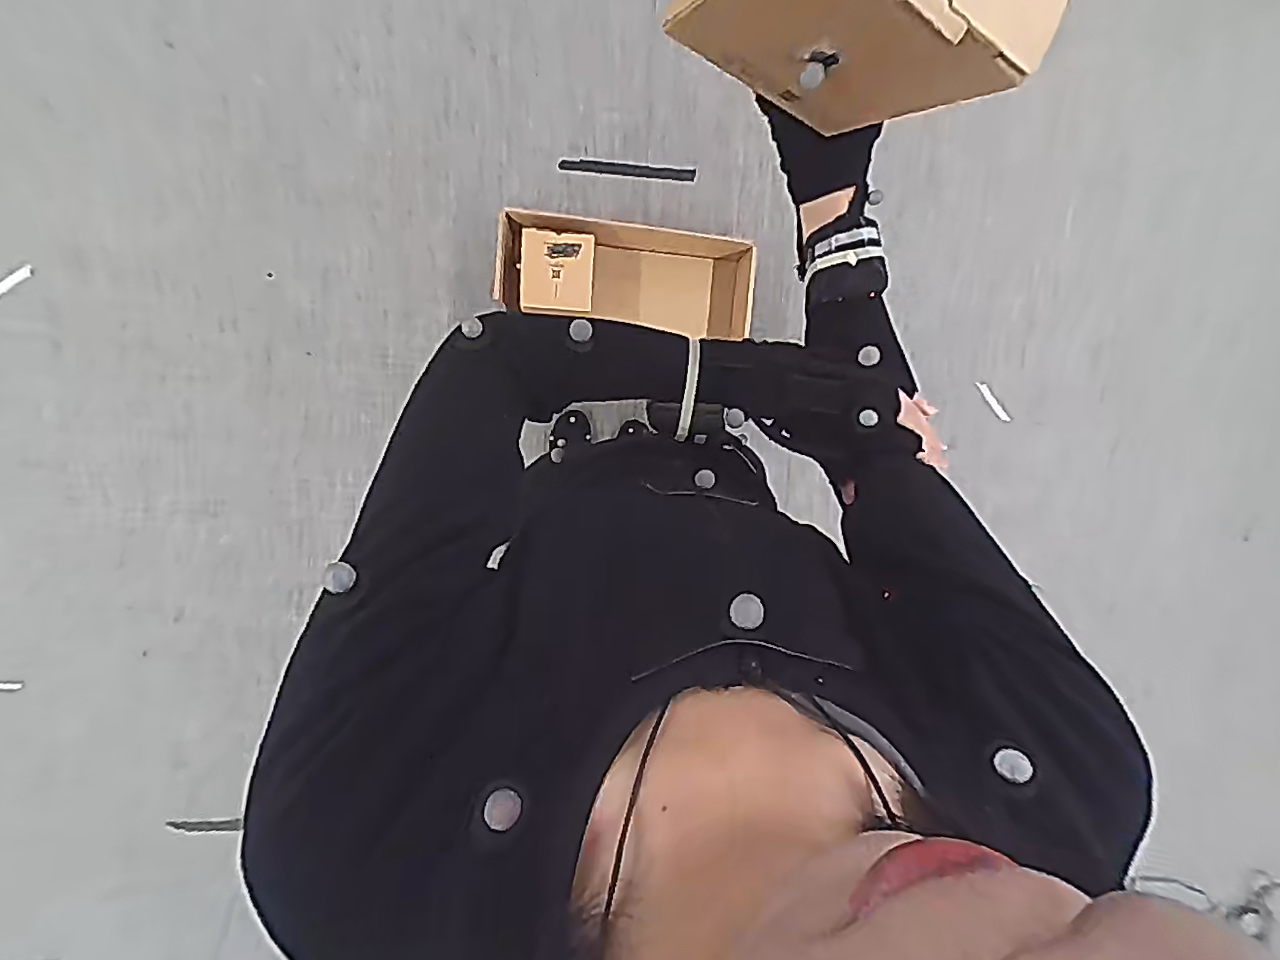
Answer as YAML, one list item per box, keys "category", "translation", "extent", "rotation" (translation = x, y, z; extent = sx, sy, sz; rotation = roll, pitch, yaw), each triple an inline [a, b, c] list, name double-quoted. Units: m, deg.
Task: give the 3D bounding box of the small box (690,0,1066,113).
- category: "small box"
  translation: [0.142, -0.349, 0.310]
  extent: [0.168, 0.176, 0.179]
  rotation: [9, 108, -28]
